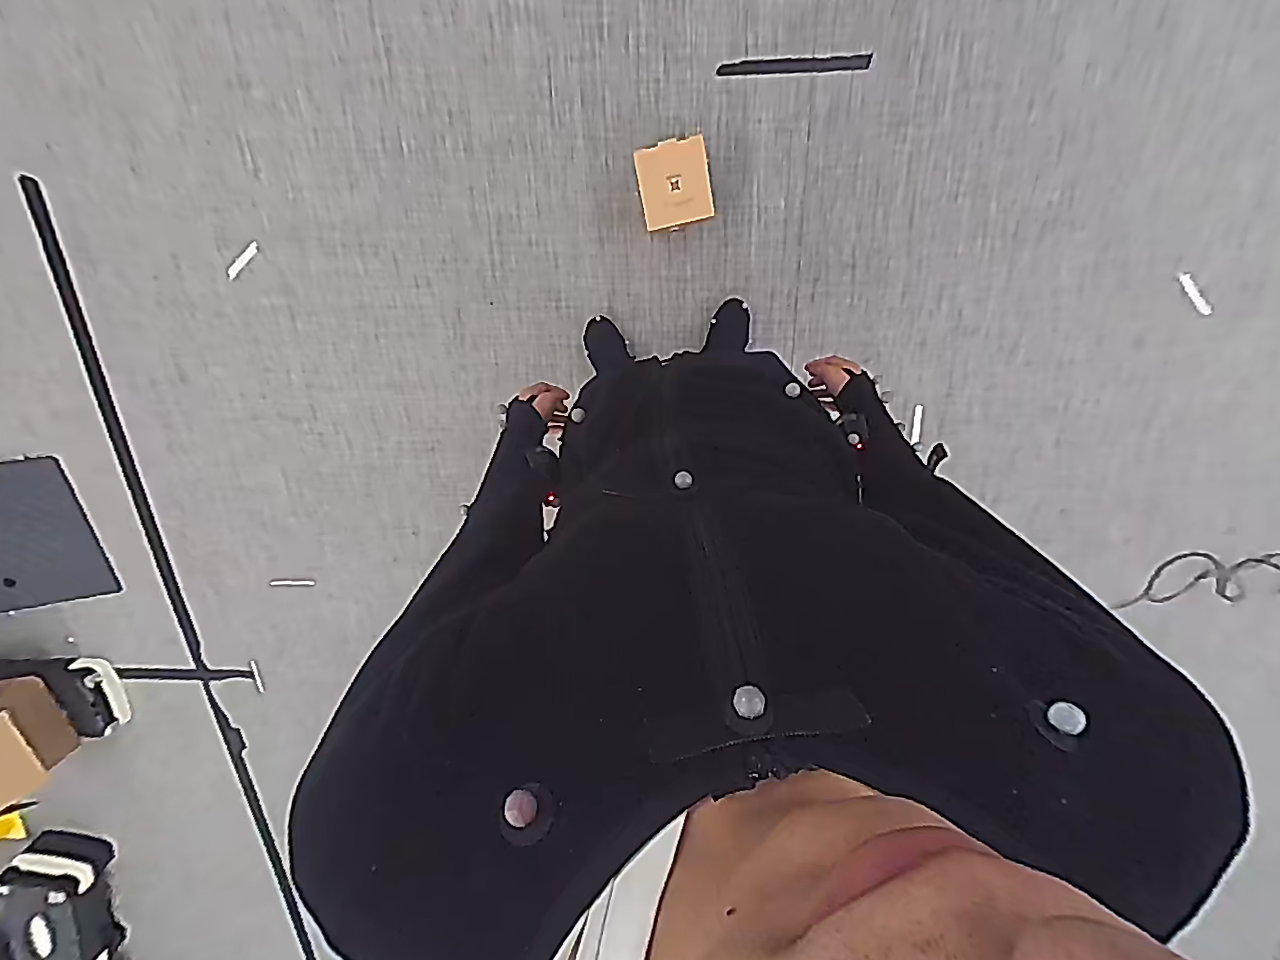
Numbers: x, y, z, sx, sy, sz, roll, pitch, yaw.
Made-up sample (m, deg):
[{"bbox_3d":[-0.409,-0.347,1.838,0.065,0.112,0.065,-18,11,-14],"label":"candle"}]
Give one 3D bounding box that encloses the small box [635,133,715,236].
[{"bbox_3d":[0.083,-0.716,1.328,0.168,0.176,0.179,-10,110,6],"label":"small box"}]
